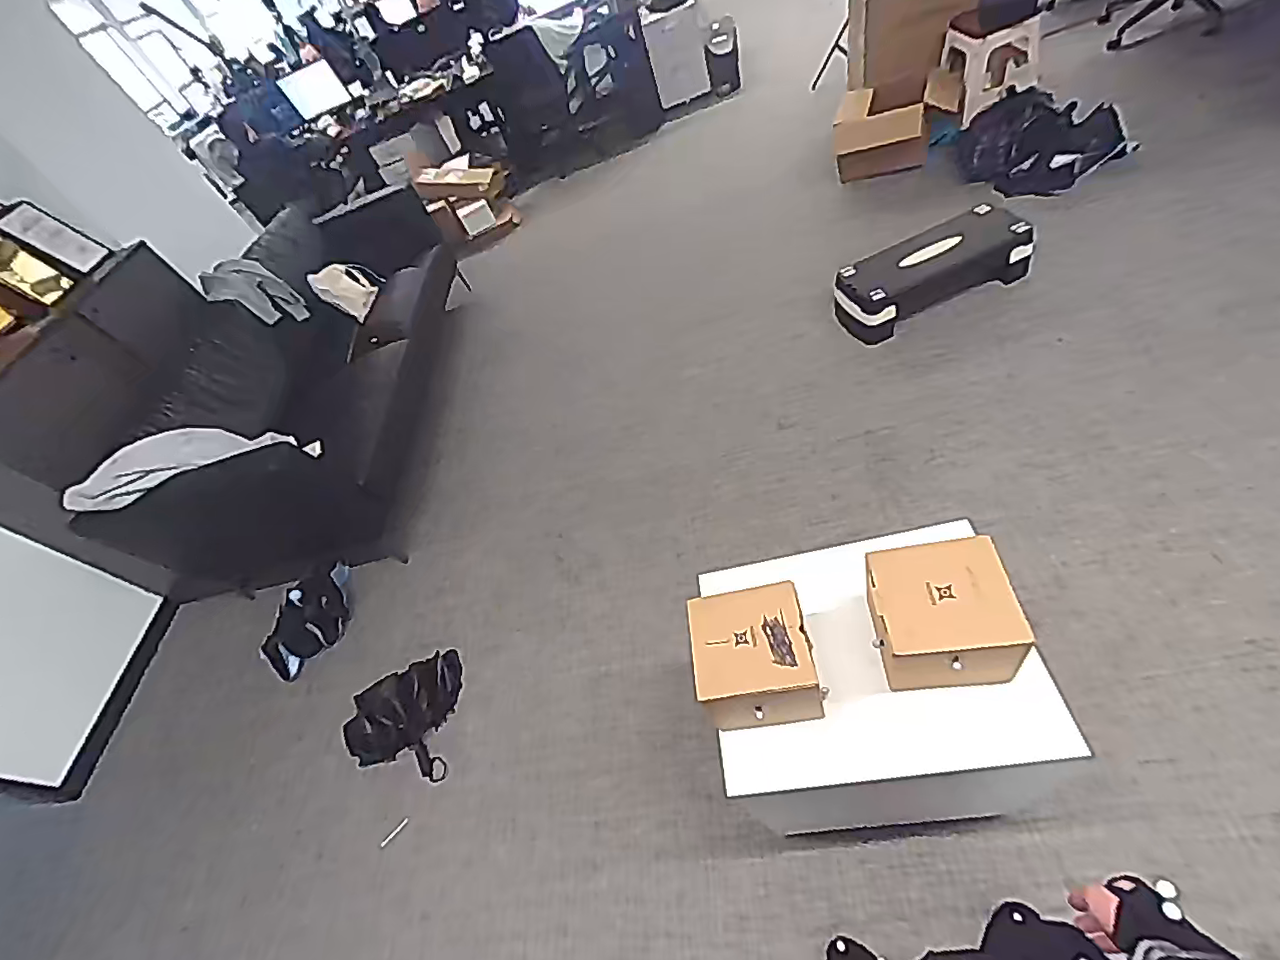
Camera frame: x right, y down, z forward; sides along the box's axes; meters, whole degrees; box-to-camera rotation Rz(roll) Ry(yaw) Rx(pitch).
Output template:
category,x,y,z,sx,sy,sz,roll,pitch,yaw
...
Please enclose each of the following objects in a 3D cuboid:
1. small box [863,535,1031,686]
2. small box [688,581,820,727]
category,x,y,z,sx,sy,sz,roll,pitch,yaw
small box,0.454,0.207,0.828,0.179,0.176,0.168,-11,51,15
small box,0.187,0.287,0.878,0.179,0.176,0.168,-14,49,13
